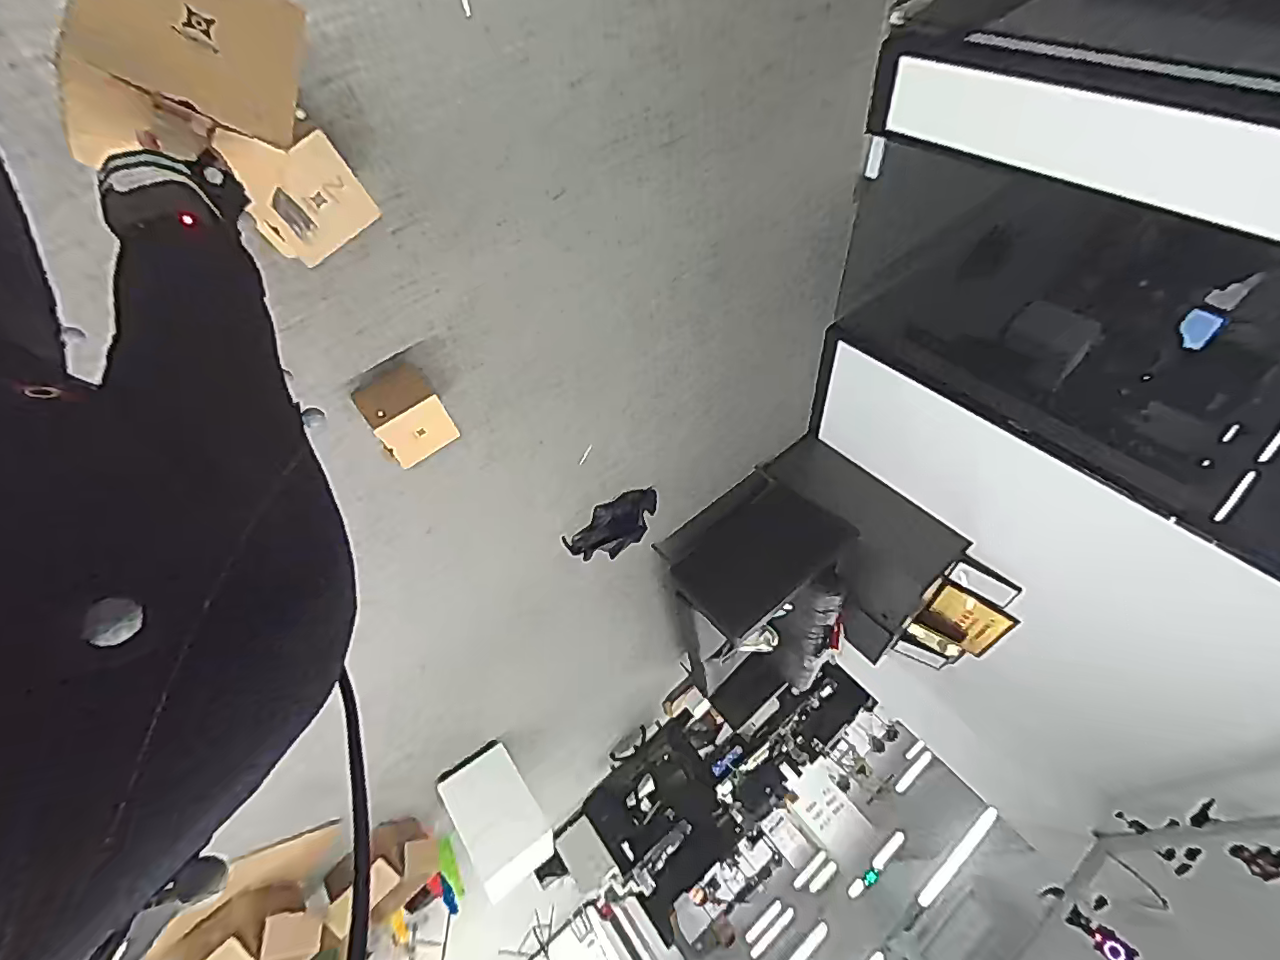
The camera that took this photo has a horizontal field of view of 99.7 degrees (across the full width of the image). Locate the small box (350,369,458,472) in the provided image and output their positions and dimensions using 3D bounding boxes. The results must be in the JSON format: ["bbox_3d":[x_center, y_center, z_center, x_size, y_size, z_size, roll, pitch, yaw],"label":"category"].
[{"bbox_3d":[-0.622,-0.161,1.427,0.179,0.176,0.168,-36,148,-16],"label":"small box"}]
